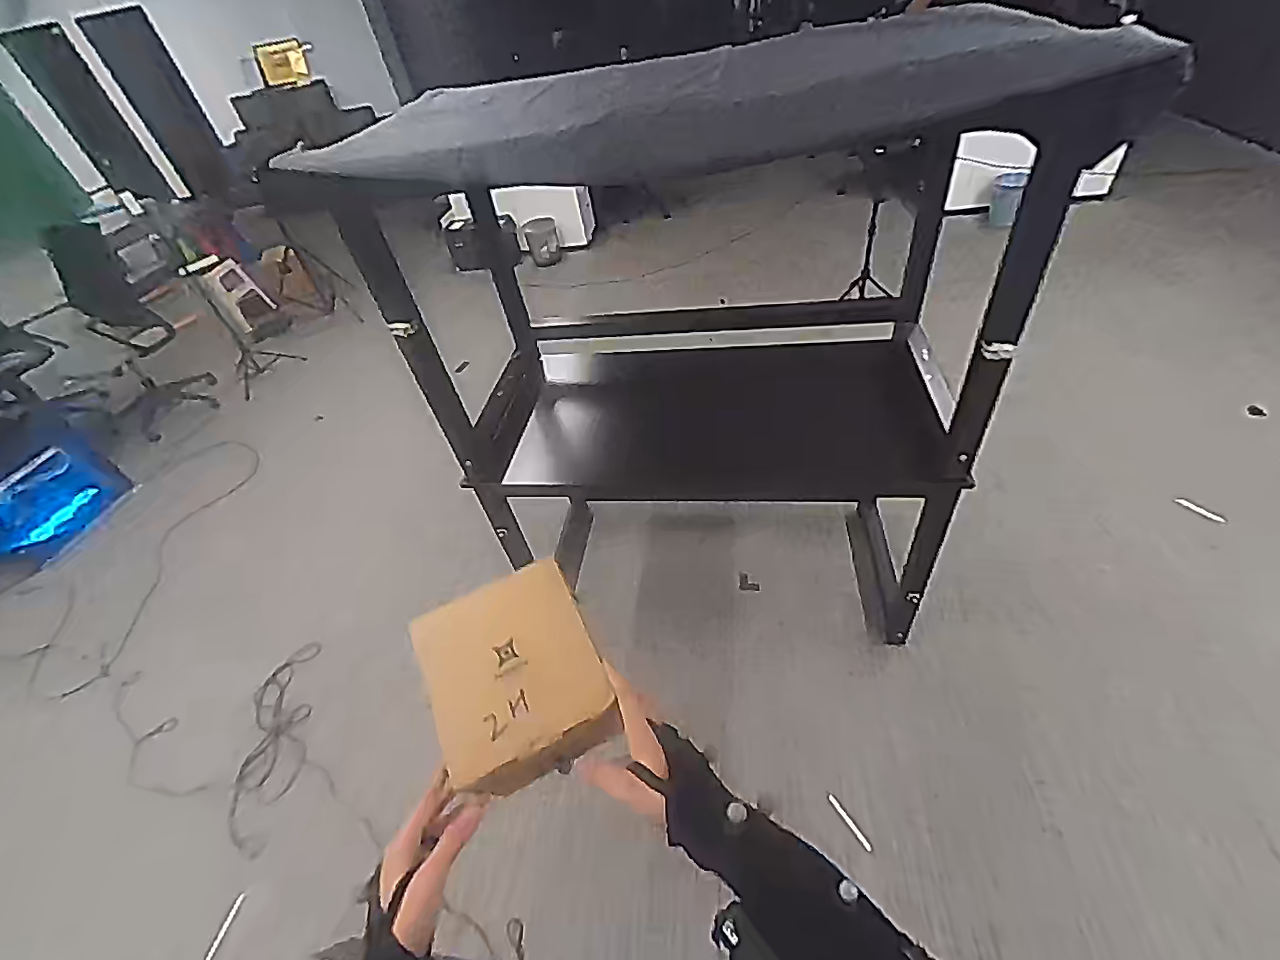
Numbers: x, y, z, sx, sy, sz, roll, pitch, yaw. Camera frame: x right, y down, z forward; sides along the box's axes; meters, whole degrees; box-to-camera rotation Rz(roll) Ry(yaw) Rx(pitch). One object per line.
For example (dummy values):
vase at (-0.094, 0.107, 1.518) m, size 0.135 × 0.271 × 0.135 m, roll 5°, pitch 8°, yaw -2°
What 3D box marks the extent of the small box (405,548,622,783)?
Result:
small box at (-0.131, 0.211, 0.602) m, size 0.168 × 0.176 × 0.179 m, roll -25°, pitch 60°, yaw -10°
